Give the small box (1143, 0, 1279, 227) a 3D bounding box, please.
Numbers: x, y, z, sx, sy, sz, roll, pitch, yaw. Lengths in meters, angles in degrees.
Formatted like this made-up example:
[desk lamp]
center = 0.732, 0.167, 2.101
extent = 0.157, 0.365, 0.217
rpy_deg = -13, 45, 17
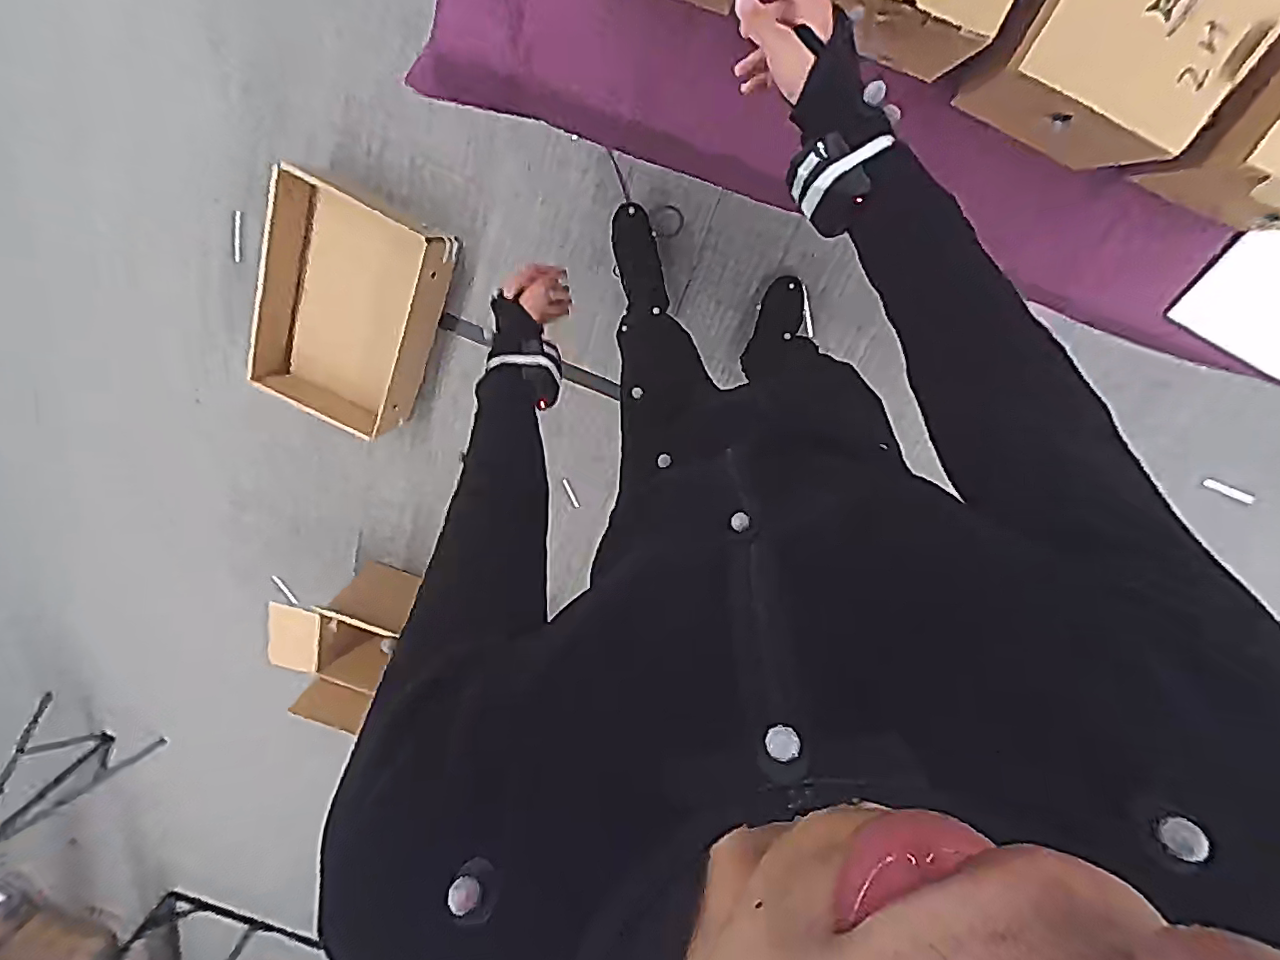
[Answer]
[small box]
center = 0.660, -0.362, 0.527
extent = 0.168, 0.176, 0.179
rpy_deg = 22, 116, -3
